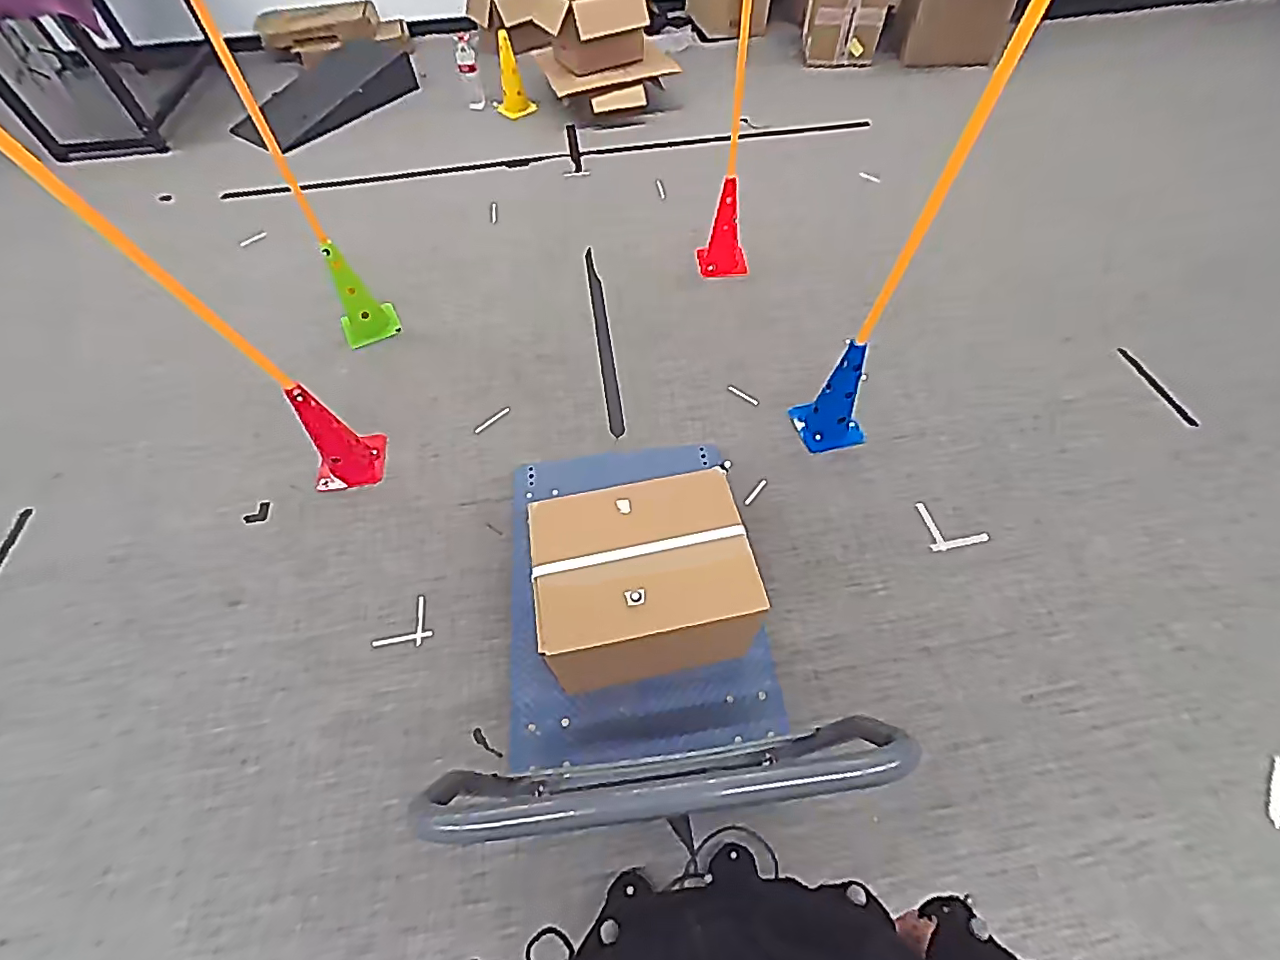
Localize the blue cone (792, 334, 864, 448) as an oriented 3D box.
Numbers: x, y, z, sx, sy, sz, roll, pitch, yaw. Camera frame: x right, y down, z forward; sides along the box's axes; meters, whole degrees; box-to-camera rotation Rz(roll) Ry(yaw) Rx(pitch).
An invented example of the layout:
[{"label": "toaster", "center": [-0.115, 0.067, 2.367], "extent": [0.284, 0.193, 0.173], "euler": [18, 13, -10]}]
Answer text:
[{"label": "blue cone", "center": [0.613, -0.281, 1.646], "extent": [0.193, 0.380, 0.192], "euler": [-11, 56, -6]}]

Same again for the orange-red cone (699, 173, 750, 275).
[{"label": "orange-red cone", "center": [0.349, -1.014, 2.118], "extent": [0.199, 0.360, 0.198], "euler": [-2, 57, -1]}]
